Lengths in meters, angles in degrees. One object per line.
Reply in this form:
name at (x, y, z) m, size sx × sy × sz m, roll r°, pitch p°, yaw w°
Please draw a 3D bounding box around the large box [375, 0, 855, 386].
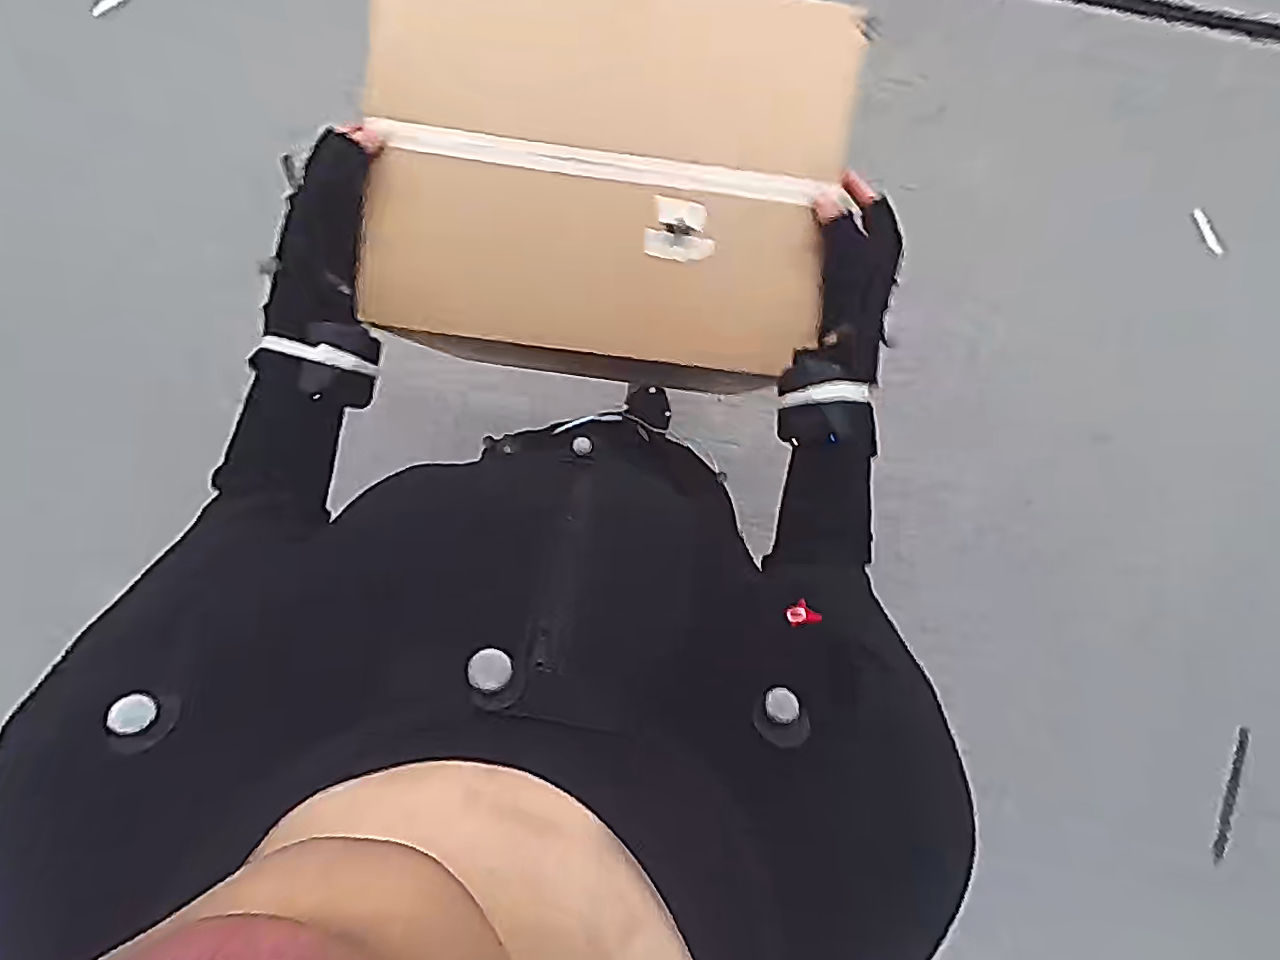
large box at (-0.034, -0.291, 0.621) m, size 0.408 × 0.320 × 0.320 m, roll 6°, pitch 97°, yaw -4°
